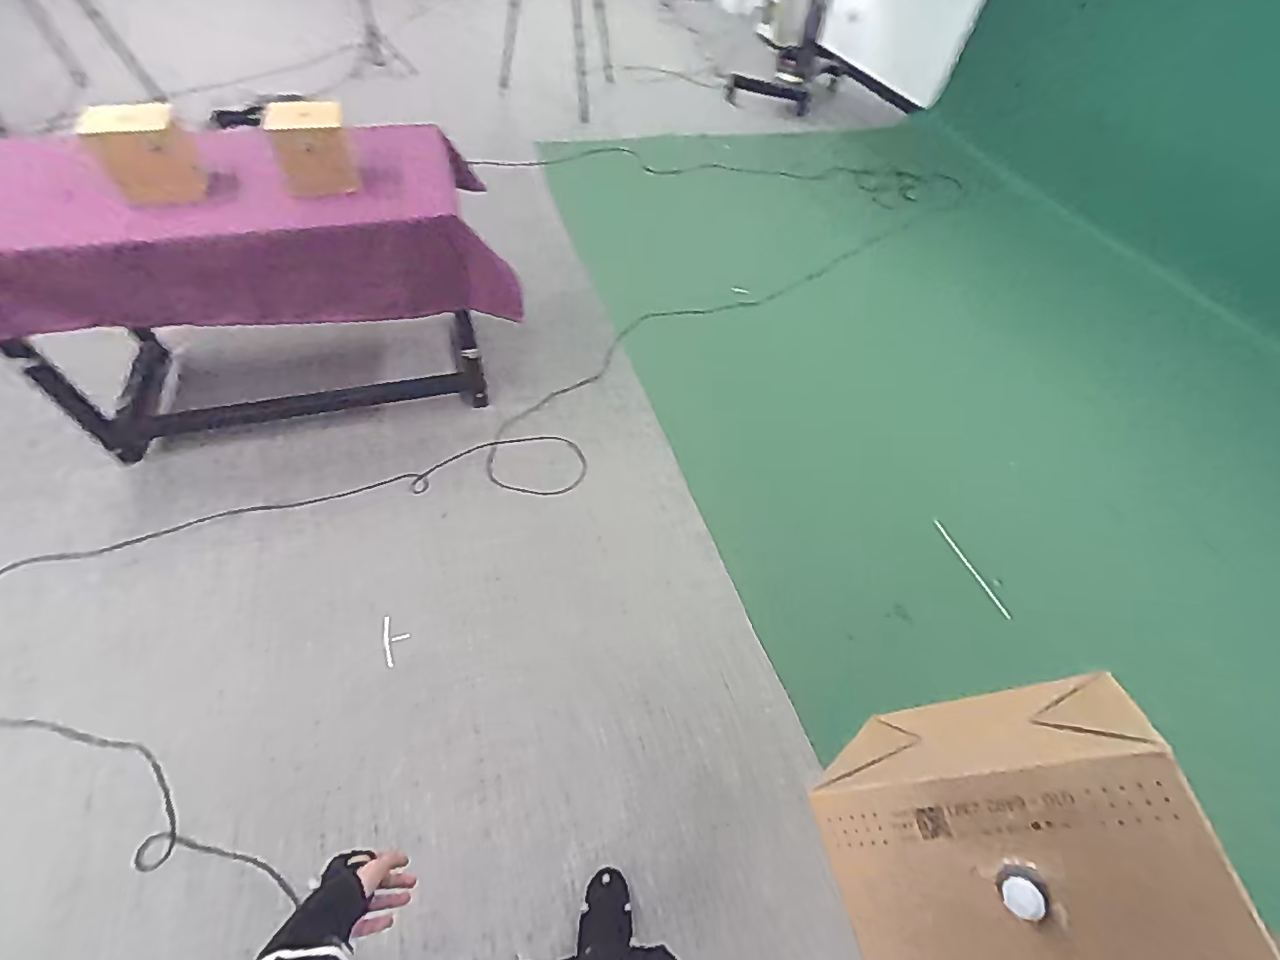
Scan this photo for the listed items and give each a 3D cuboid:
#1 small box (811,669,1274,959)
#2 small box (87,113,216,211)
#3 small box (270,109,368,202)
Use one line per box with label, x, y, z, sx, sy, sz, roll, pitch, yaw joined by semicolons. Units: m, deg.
small box;0.226;0.222;0.317;0.179;0.168;0.176;11;56;-55
small box;-1.223;-0.802;1.368;0.179;0.176;0.168;-14;55;-17
small box;-0.853;-0.867;1.451;0.179;0.176;0.168;-11;55;-14
